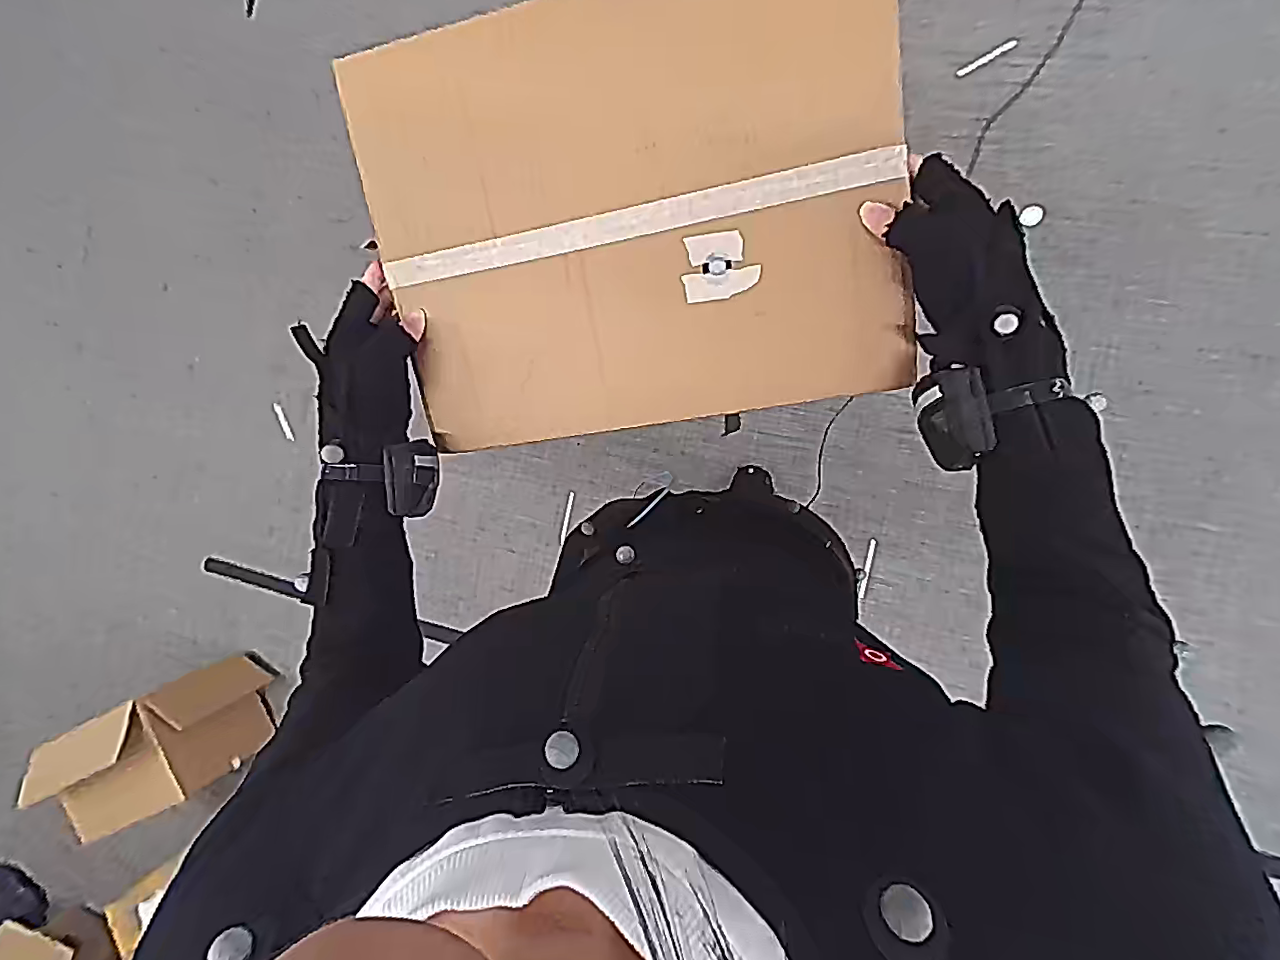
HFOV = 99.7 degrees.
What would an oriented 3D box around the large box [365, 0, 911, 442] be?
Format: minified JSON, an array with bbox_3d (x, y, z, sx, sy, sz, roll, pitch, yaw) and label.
[{"bbox_3d":[0.017,-0.244,0.570,0.408,0.320,0.320,-7,105,11],"label":"large box"}]
